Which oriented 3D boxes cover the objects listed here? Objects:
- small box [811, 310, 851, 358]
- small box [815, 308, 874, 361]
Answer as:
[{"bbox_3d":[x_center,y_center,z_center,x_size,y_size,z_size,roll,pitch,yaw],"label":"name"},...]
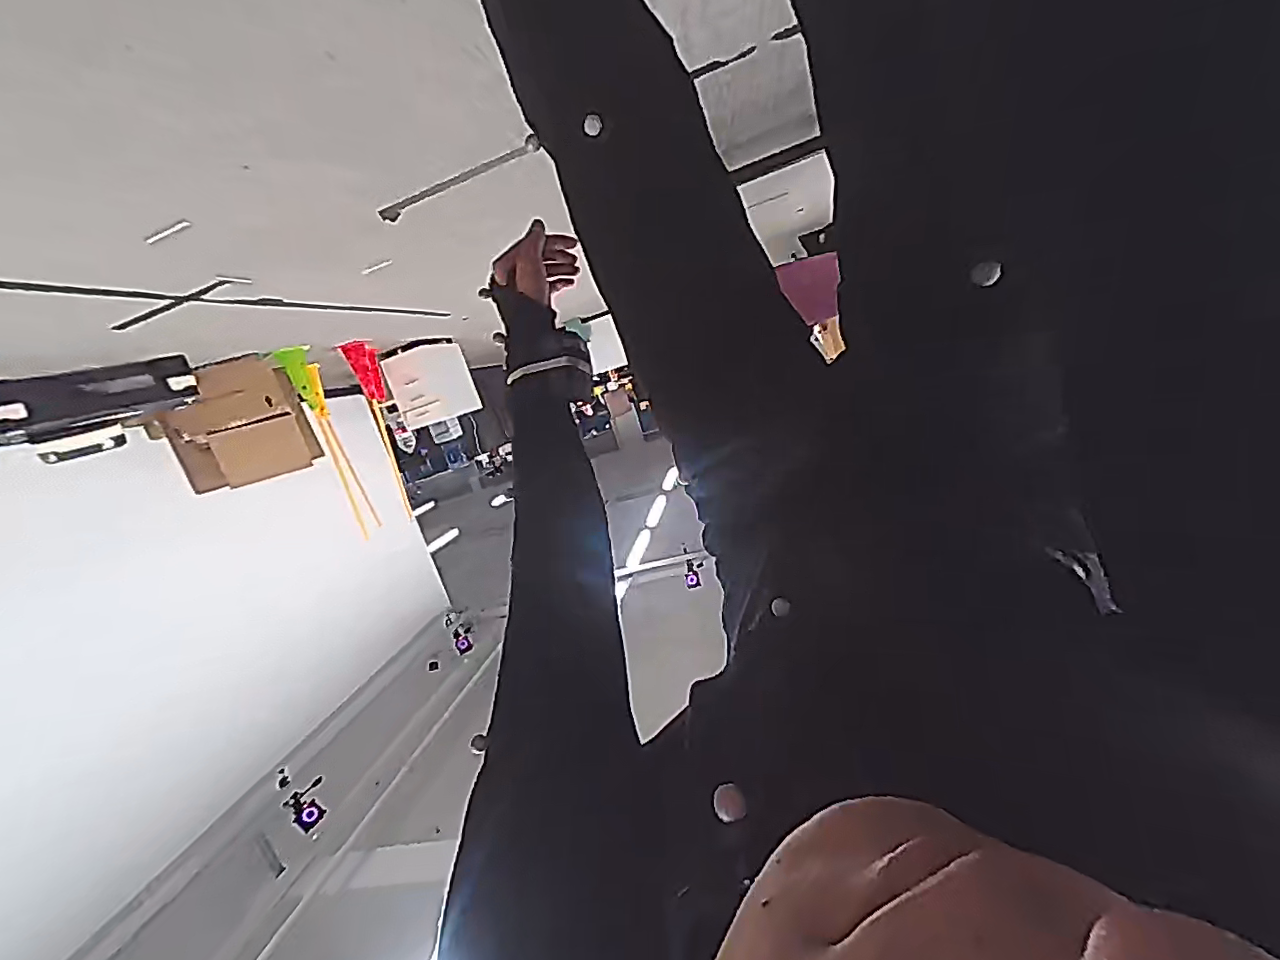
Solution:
[{"bbox_3d":[0.888,-0.660,2.447,0.179,0.176,0.168,-15,-169,15],"label":"small box"},{"bbox_3d":[0.835,-0.598,2.219,0.179,0.176,0.168,-15,-169,14],"label":"small box"}]
